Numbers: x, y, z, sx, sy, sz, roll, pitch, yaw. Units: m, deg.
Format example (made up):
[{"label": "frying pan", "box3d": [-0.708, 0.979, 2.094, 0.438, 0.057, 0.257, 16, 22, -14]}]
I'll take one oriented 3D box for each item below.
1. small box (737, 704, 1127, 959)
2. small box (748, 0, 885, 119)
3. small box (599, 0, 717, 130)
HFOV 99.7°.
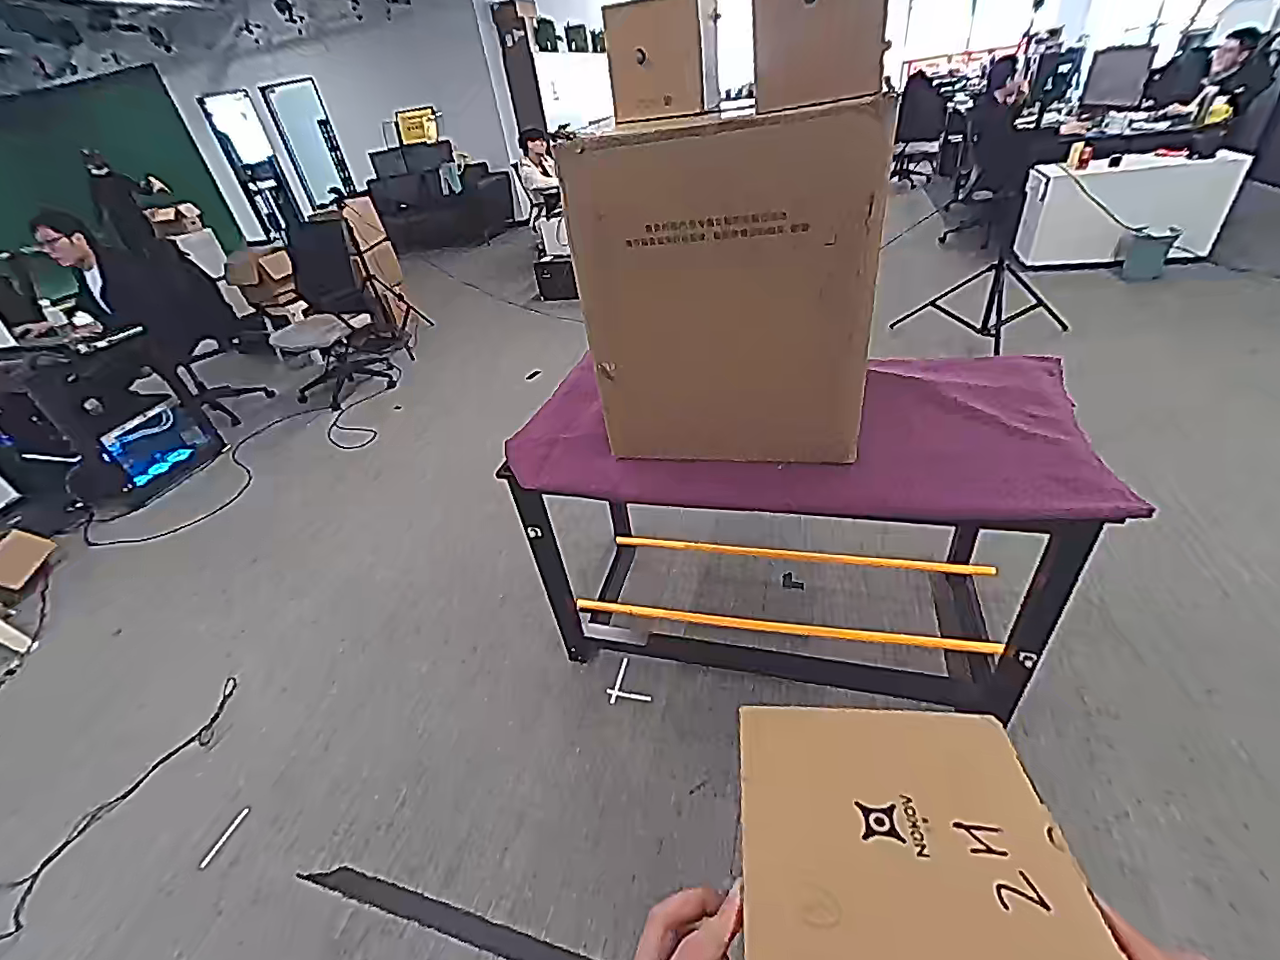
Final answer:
[{"label": "small box", "box3d": [0.155, 0.271, 0.345, 0.179, 0.176, 0.168, -2, 25, 11]}, {"label": "small box", "box3d": [0.253, -0.642, 0.787, 0.179, 0.176, 0.168, 0, 37, 15]}, {"label": "small box", "box3d": [0.044, -0.749, 0.985, 0.168, 0.176, 0.179, 5, 38, 18]}]
